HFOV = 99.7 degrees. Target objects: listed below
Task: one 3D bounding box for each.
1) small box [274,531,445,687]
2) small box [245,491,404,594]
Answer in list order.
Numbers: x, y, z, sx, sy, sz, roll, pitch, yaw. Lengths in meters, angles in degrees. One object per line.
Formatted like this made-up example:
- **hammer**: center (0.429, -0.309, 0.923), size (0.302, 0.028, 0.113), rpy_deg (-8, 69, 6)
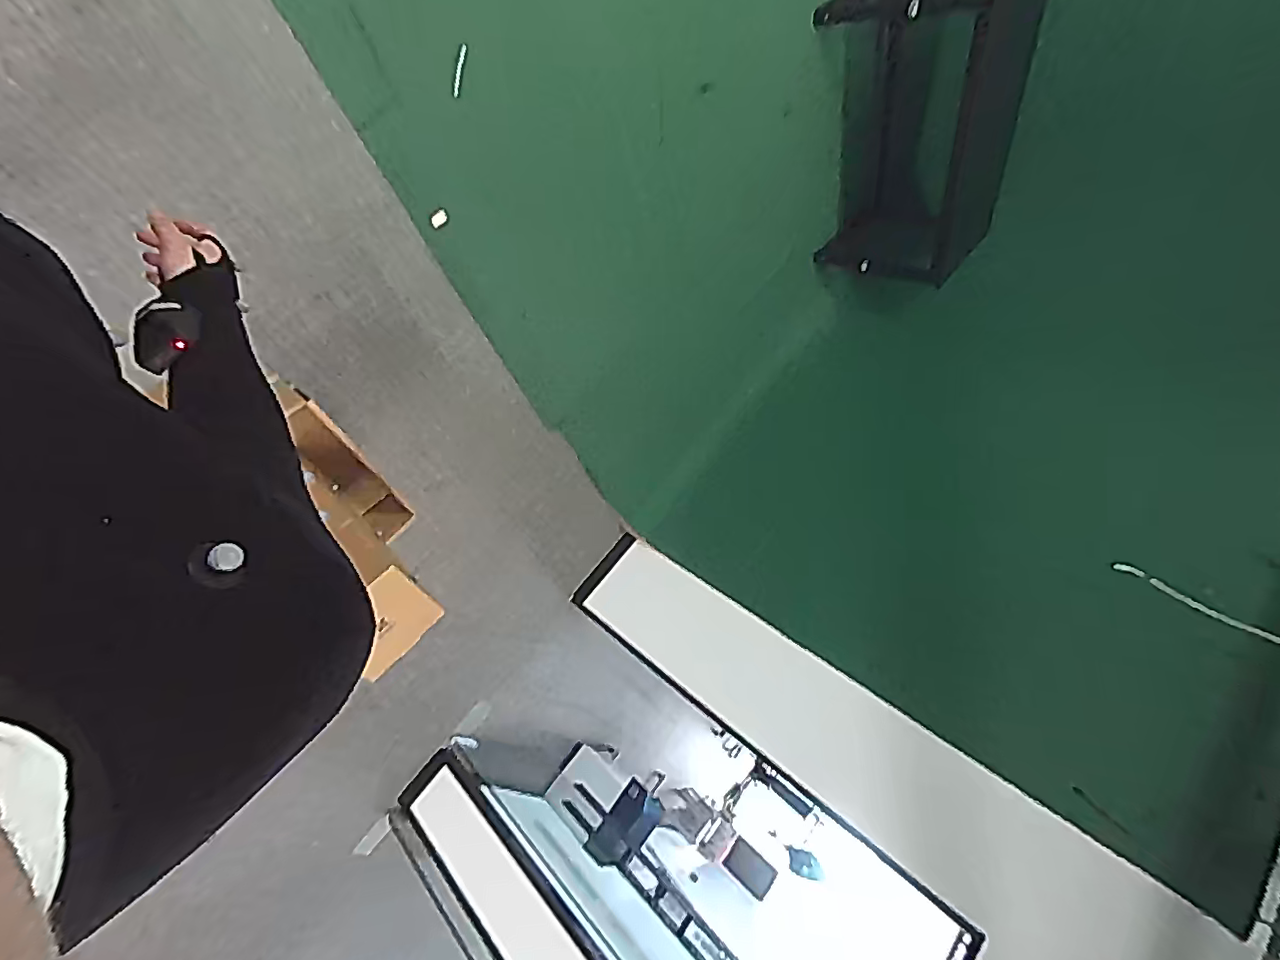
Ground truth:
- **small box**: center (-0.484, 0.219, 0.940), size (0.168, 0.176, 0.179), rpy_deg (-45, 143, -21)
- **small box**: center (-0.599, 0.151, 1.033), size (0.168, 0.176, 0.179), rpy_deg (-46, 143, -20)
